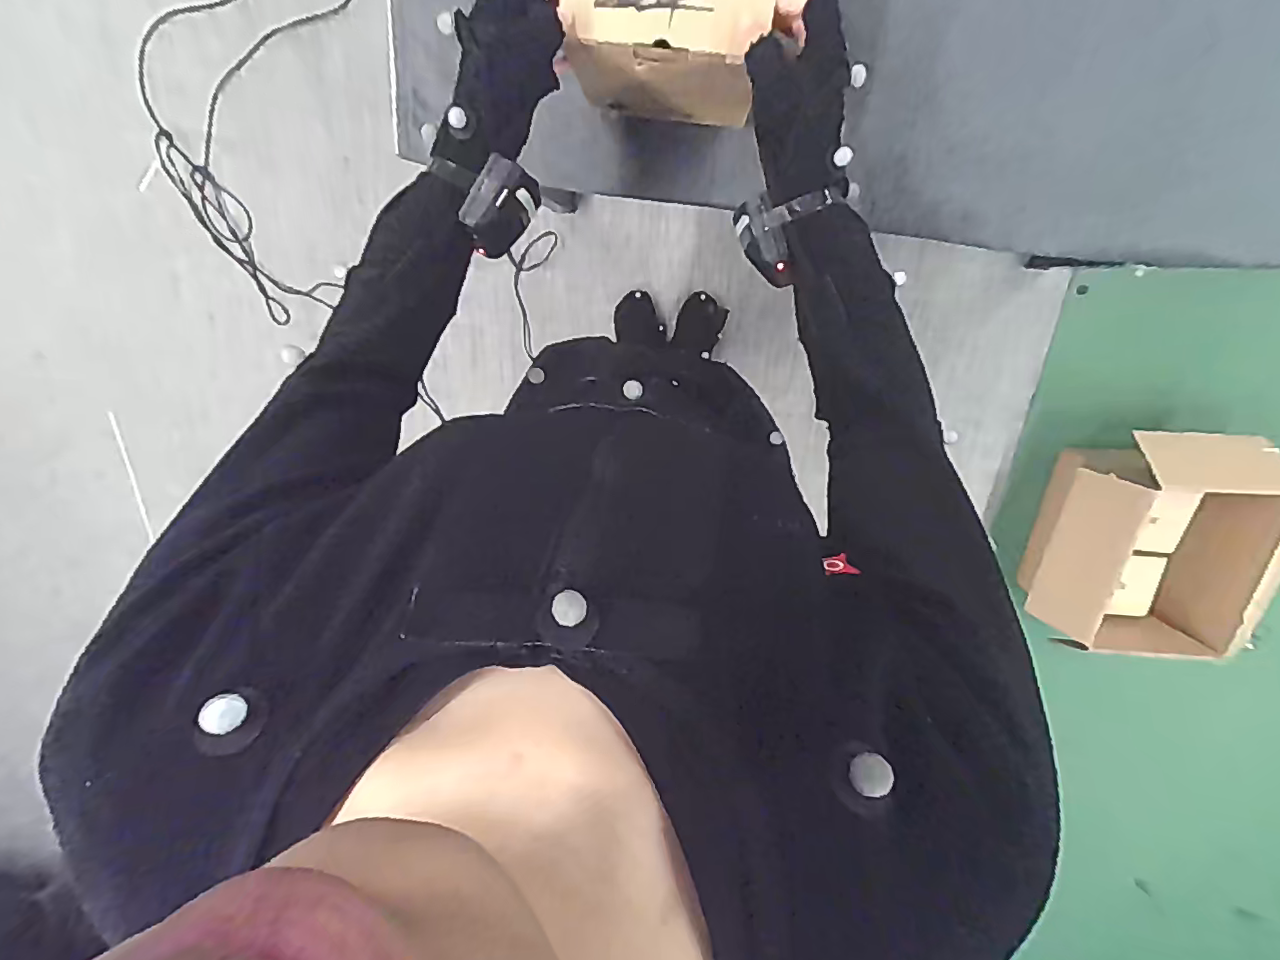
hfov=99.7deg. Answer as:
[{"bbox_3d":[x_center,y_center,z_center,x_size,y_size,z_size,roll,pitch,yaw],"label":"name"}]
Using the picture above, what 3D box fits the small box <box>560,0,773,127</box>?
[{"bbox_3d":[0.033,-0.437,0.474,0.168,0.176,0.179,8,108,1],"label":"small box"}]
